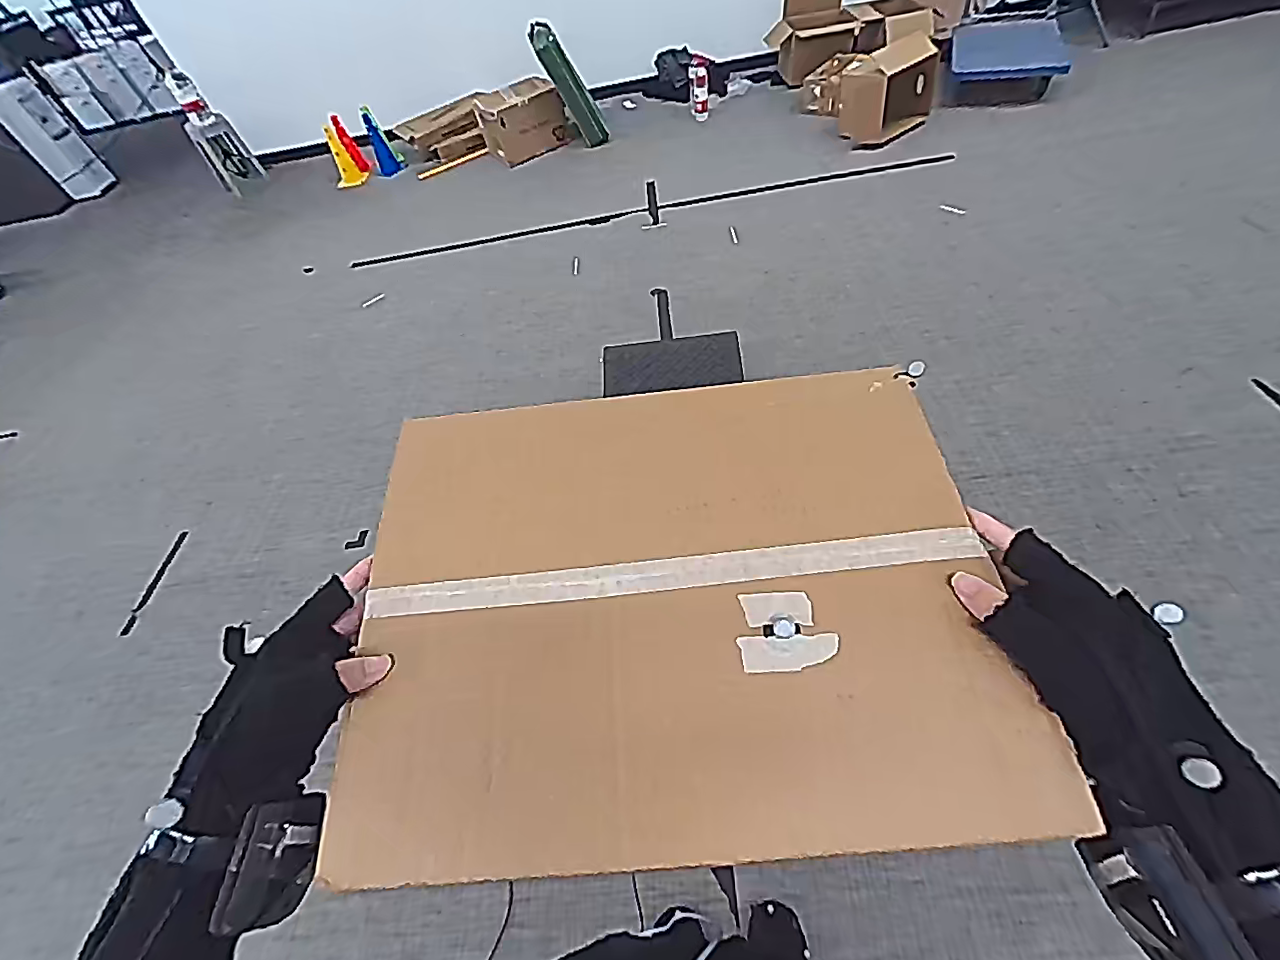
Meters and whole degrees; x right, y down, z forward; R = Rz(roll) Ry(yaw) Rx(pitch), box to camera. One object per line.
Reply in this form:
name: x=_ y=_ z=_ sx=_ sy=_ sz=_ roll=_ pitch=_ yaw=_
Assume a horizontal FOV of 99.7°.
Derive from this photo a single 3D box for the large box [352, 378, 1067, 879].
large box: x=0.033 y=0.144 z=0.498 sx=0.408 sy=0.320 sz=0.320 roll=-6 pitch=59 yaw=2
